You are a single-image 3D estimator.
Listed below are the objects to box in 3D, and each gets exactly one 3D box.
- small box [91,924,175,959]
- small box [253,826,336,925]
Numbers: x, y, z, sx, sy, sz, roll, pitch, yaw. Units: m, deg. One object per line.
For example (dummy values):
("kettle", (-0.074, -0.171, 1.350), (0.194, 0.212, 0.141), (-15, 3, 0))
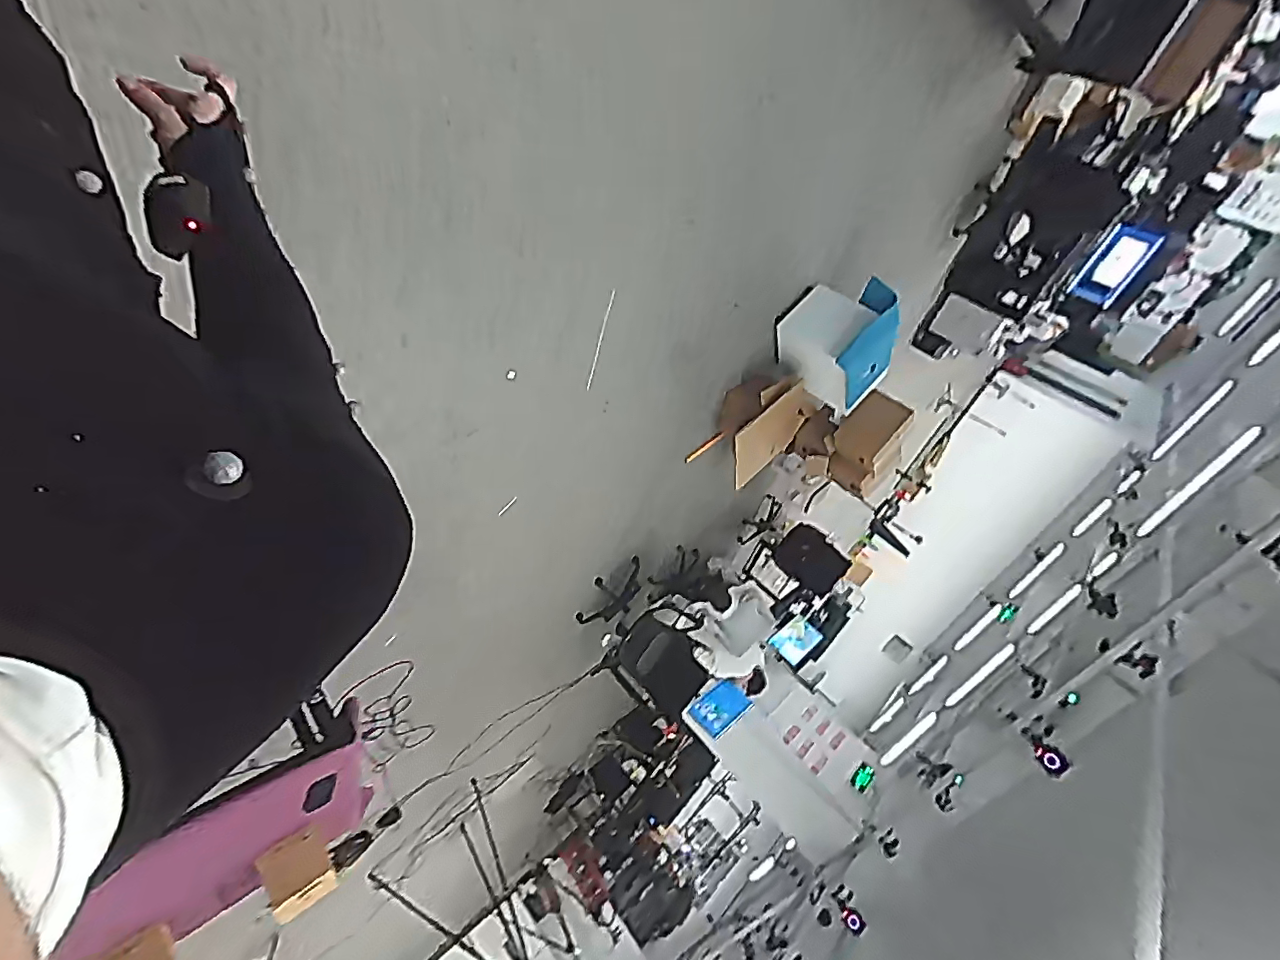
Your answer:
("small box", (-1.356, 1.342, 1.442), (0.168, 0.176, 0.179), (-21, 141, -43))
("small box", (-1.079, 1.227, 1.690), (0.168, 0.176, 0.179), (-22, 143, -40))
